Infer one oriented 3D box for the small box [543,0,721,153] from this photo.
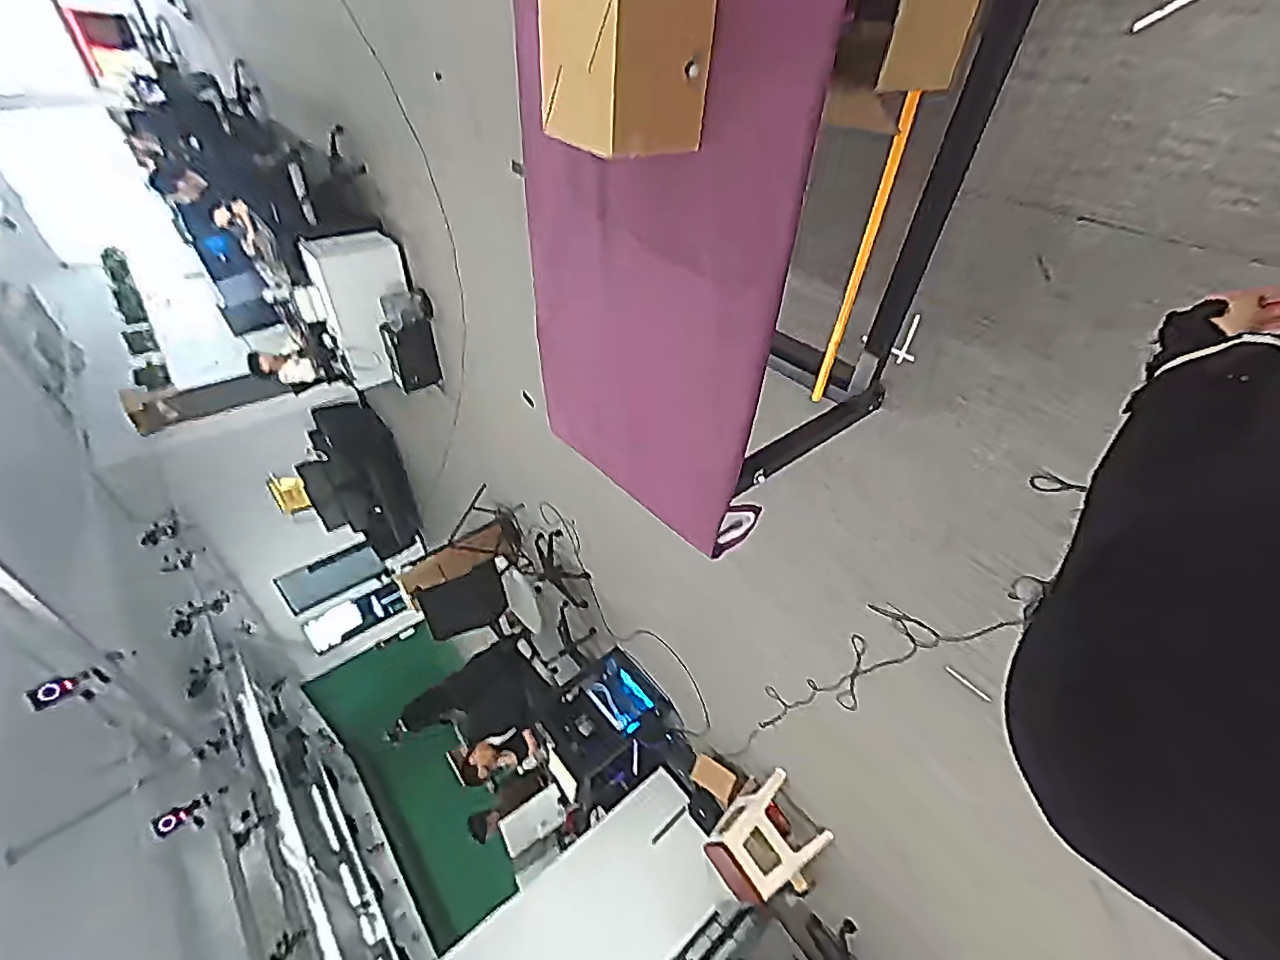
[{"bbox_3d":[-0.018,-0.557,0.731,0.168,0.176,0.179,42,144,33],"label":"small box"}]
